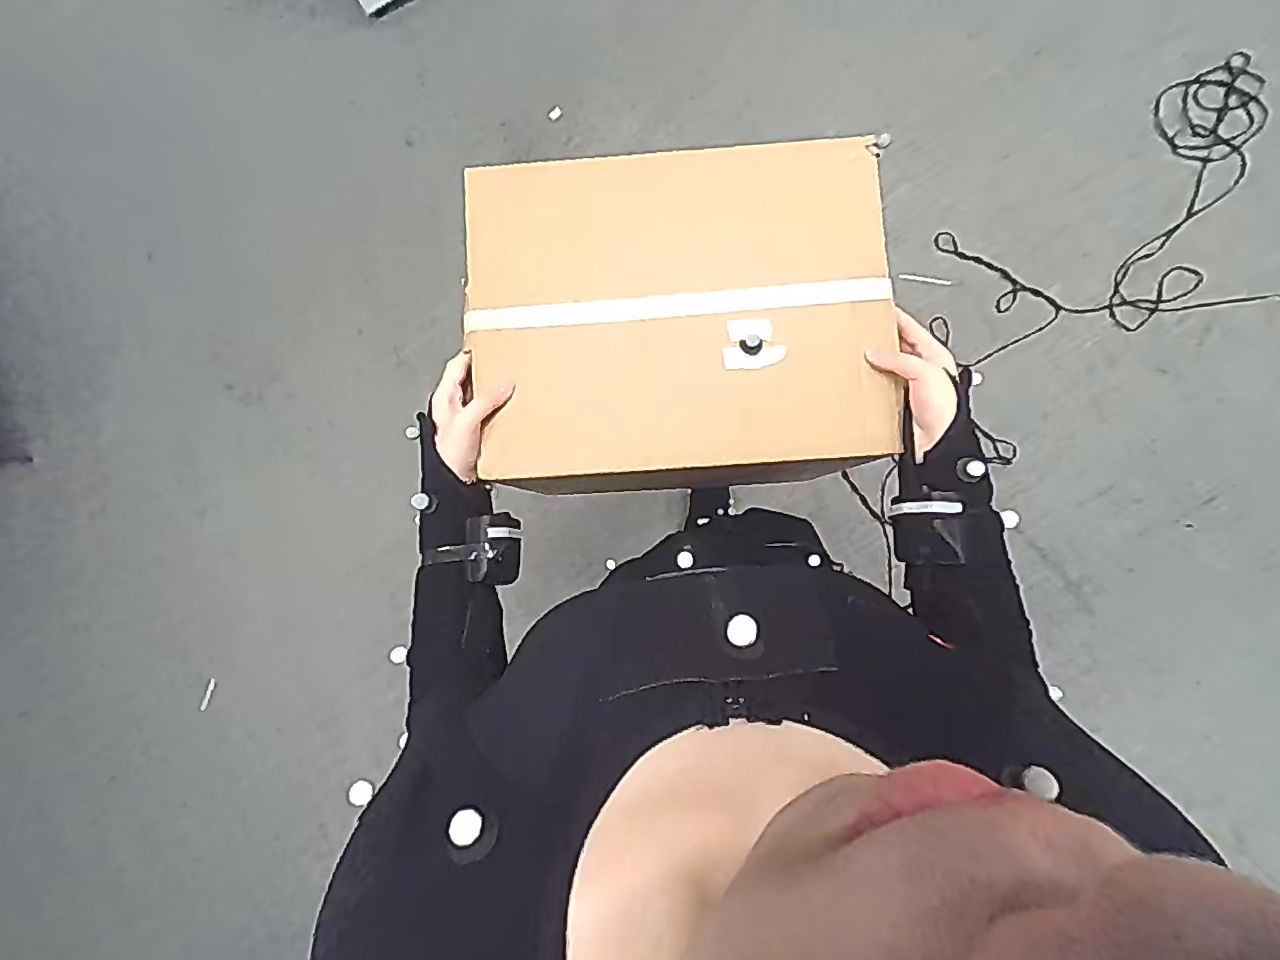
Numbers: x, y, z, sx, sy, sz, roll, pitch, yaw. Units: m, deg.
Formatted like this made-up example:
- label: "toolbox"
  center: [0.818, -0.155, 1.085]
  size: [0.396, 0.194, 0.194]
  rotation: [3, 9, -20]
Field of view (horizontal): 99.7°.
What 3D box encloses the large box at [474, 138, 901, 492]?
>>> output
- label: "large box"
  center: [0.042, -0.162, 0.675]
  size: [0.408, 0.320, 0.320]
  rotation: [-4, 86, 0]
